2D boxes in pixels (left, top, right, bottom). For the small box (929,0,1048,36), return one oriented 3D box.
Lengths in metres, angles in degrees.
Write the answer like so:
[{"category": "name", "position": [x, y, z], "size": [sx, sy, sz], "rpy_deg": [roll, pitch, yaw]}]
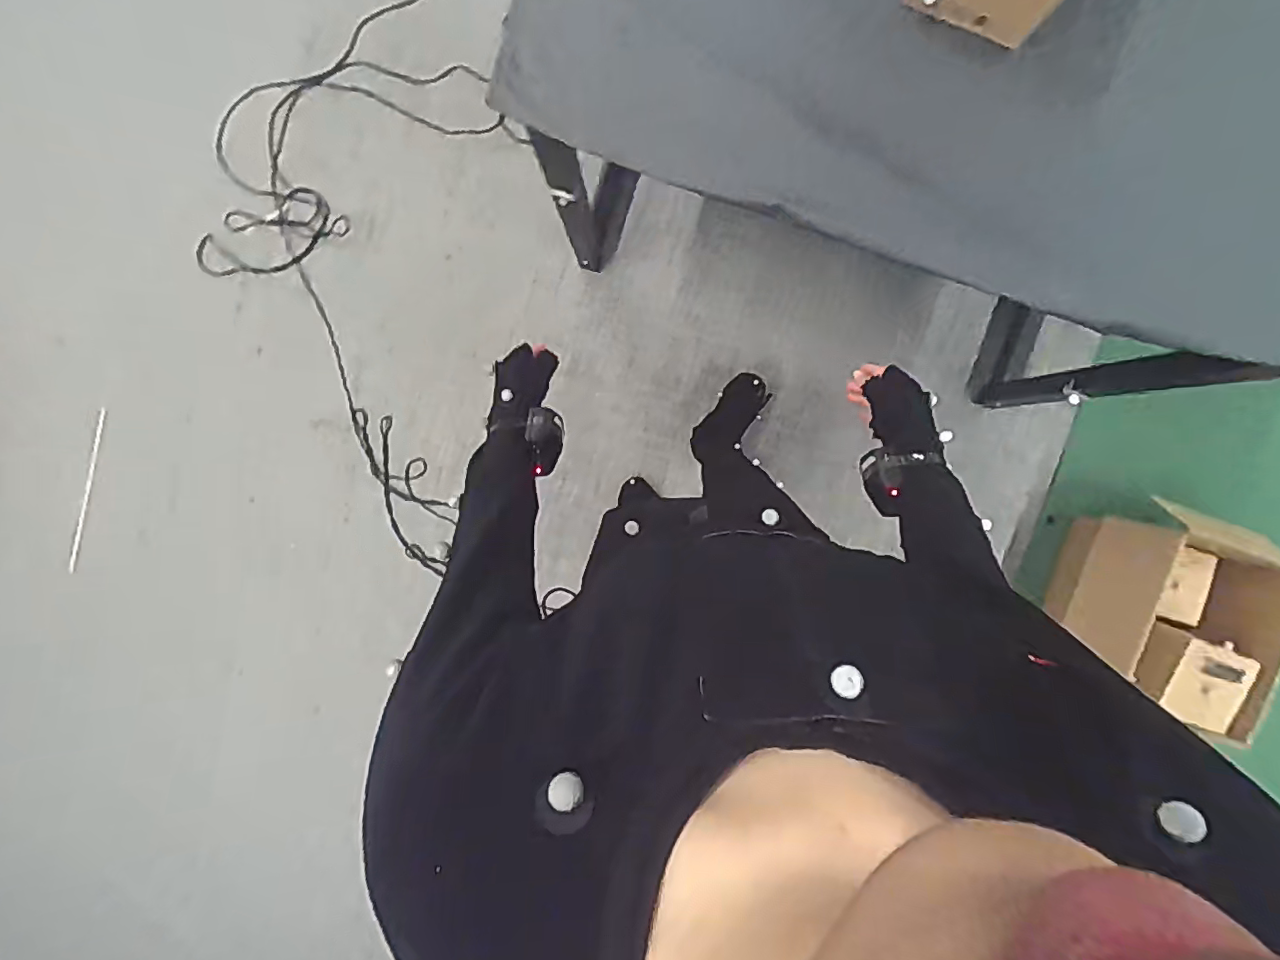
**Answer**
[{"category": "small box", "position": [0.433, -0.662, 0.606], "size": [0.168, 0.176, 0.179], "rpy_deg": [22, 93, -1]}]
